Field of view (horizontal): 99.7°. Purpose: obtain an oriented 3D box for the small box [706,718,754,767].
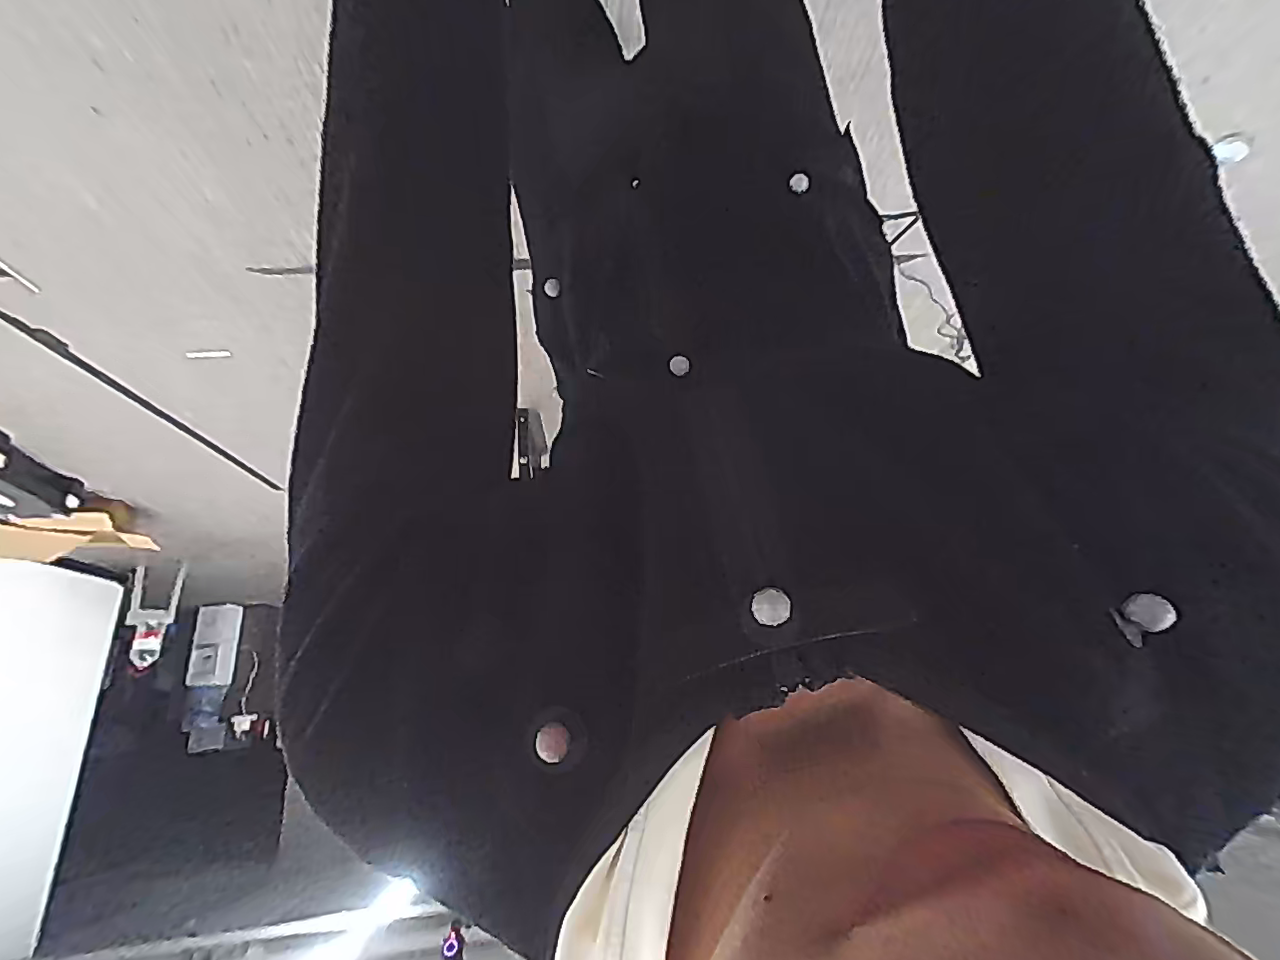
[{"bbox_3d":[0.396,1.170,2.417,0.168,0.176,0.179,-3,159,-6],"label":"small box"}]
